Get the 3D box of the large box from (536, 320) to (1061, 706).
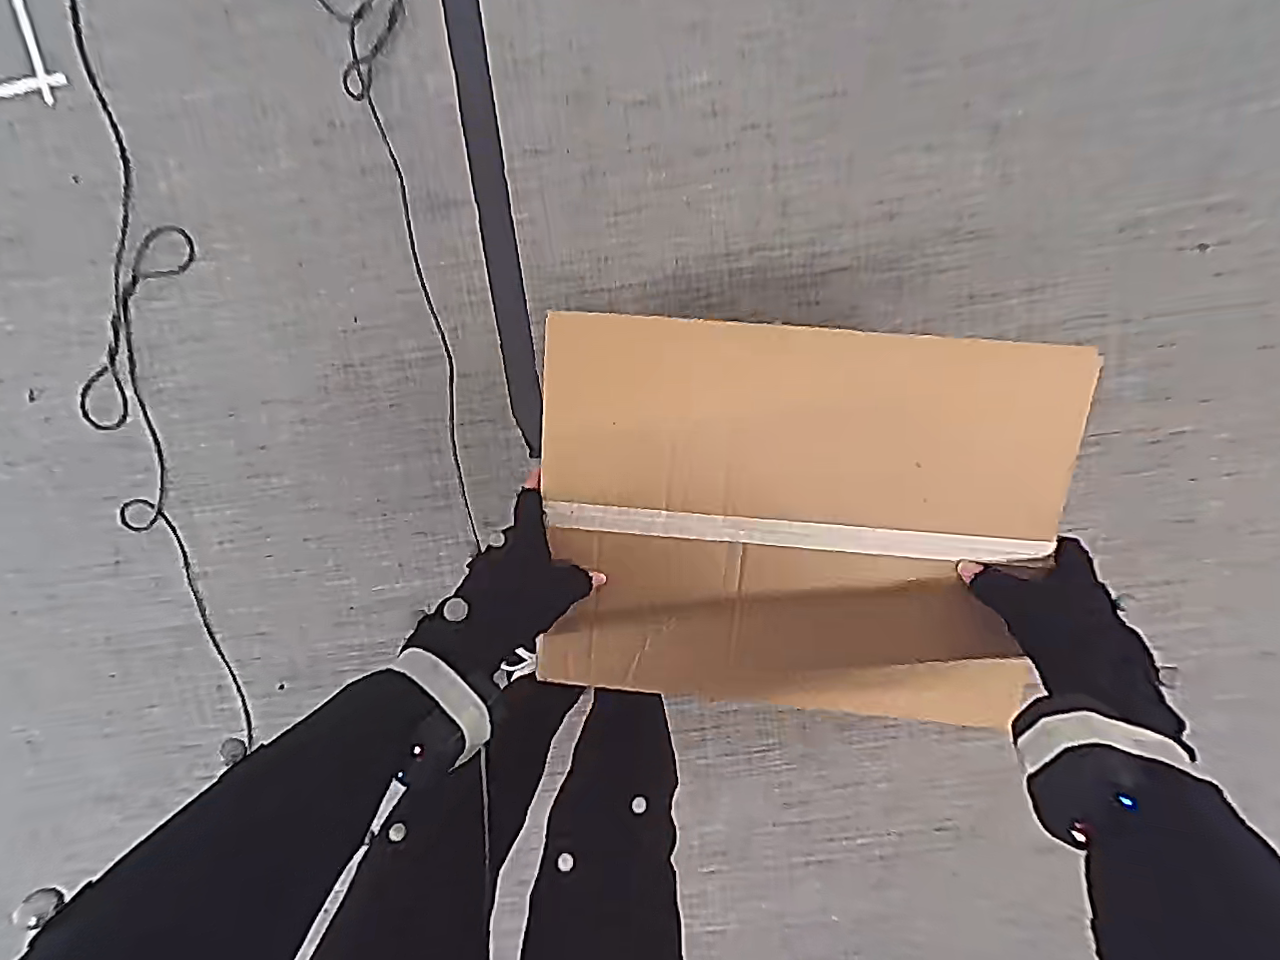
[{"bbox_3d":[0.124,0.004,0.594,0.408,0.320,0.320,5,102,3],"label":"large box"}]
